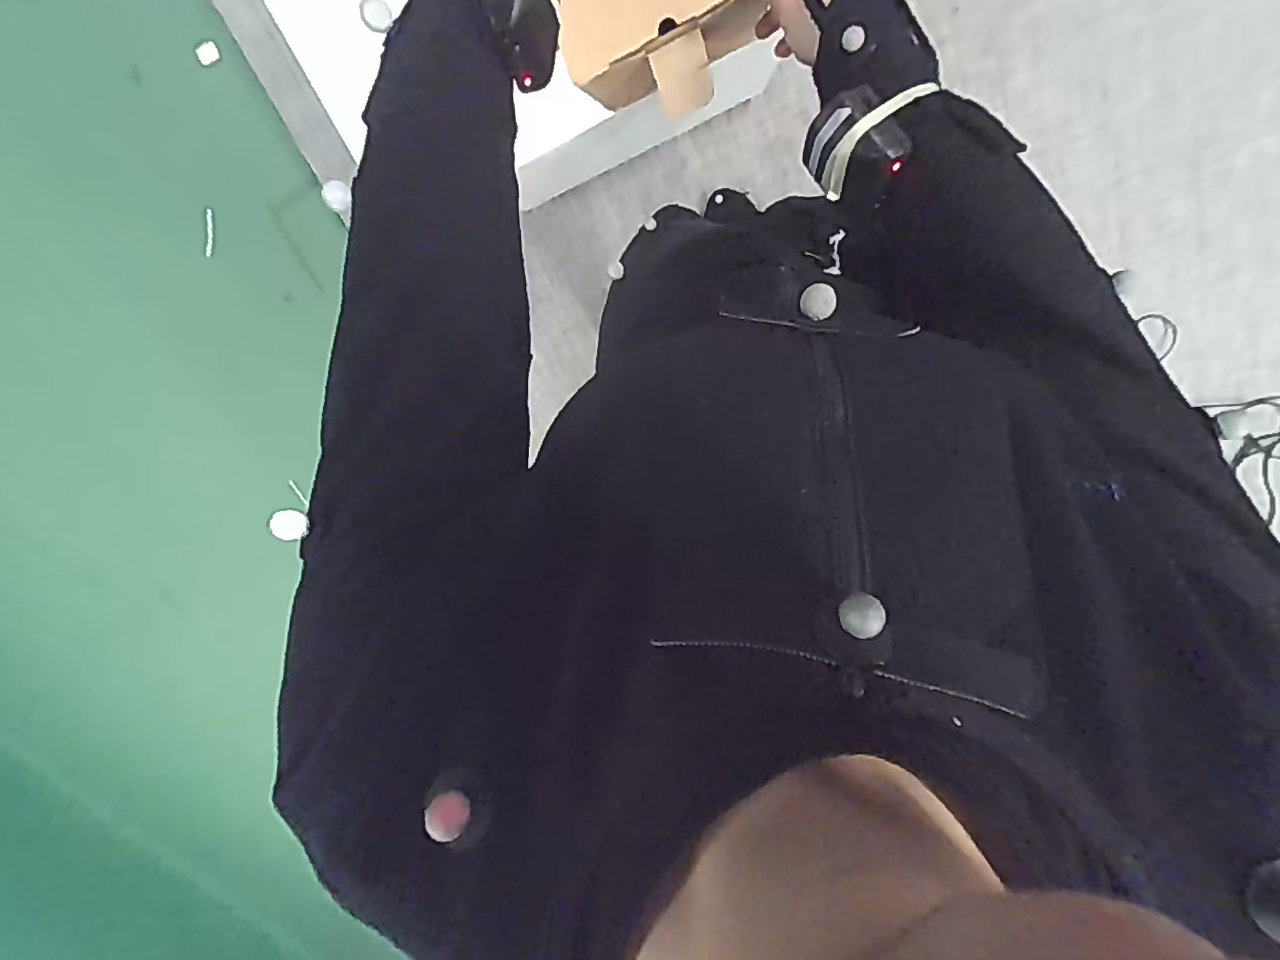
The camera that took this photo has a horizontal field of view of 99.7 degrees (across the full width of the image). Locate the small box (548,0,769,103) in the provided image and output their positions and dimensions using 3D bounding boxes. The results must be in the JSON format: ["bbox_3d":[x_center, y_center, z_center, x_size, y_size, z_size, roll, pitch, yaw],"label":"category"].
[{"bbox_3d":[0.003,-0.448,0.442,0.168,0.176,0.179,-17,115,17],"label":"small box"}]
